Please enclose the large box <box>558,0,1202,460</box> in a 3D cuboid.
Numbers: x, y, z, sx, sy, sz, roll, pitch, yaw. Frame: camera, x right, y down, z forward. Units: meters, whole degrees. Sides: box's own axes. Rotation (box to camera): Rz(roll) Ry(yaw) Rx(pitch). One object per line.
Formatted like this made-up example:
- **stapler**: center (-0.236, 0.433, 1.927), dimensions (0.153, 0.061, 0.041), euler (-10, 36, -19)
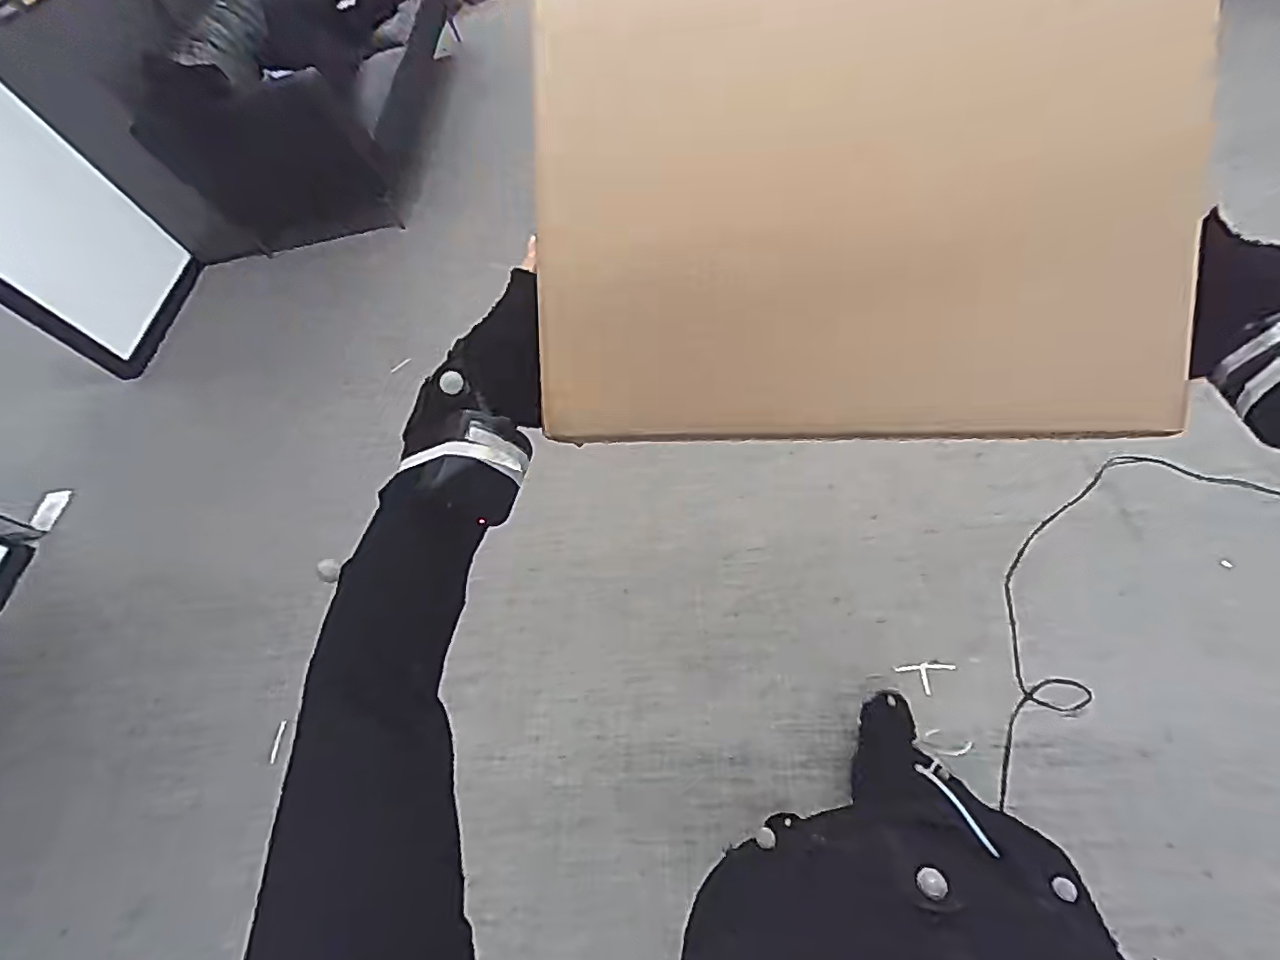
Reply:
- **large box**: center (0.160, -0.184, 0.502), dimensions (0.408, 0.320, 0.320), euler (2, 95, 11)
